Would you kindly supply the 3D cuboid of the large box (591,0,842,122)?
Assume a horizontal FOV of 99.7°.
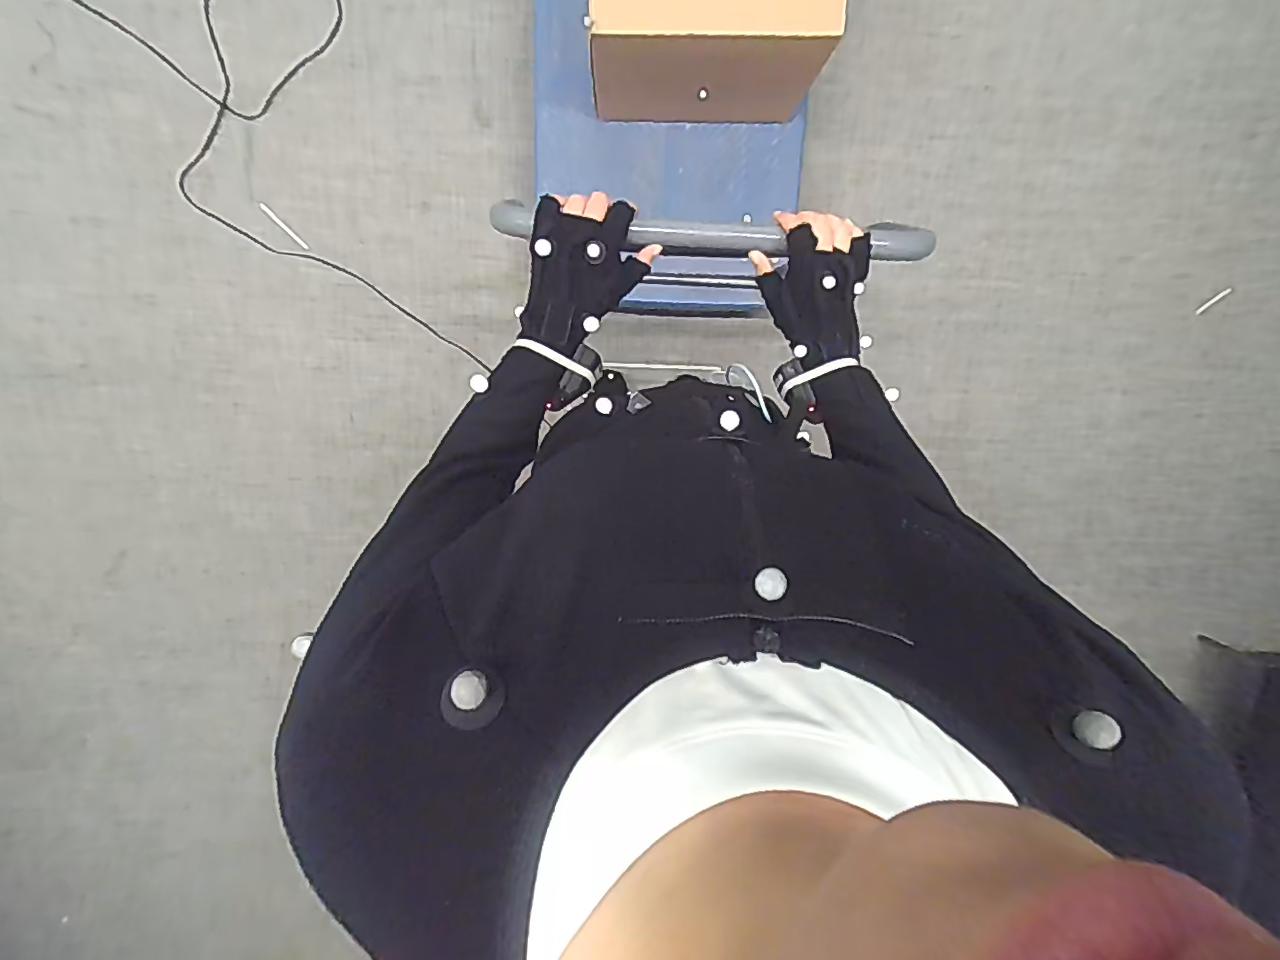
[{"bbox_3d":[0.117,-0.882,0.976,0.408,0.320,0.320,-1,101,-2],"label":"large box"}]
